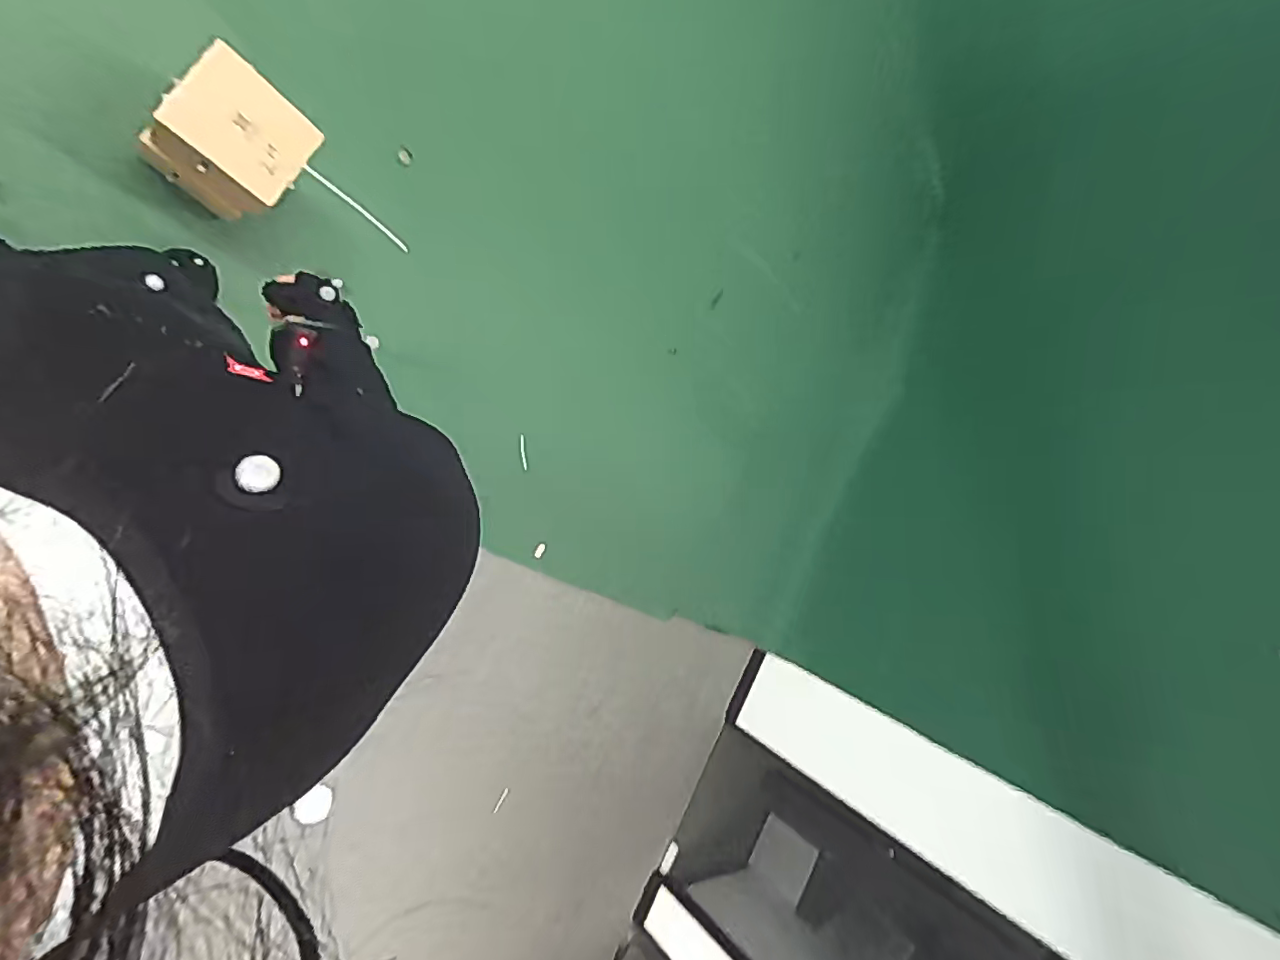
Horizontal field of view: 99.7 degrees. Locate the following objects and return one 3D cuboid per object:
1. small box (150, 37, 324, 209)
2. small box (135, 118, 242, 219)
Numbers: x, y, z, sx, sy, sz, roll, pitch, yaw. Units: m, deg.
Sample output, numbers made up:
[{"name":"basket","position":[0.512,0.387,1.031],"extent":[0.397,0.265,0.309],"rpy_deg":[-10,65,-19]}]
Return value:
[{"name":"small box","position":[-0.698,-0.597,0.934],"extent":[0.179,0.176,0.168],"rpy_deg":[40,76,-45]},{"name":"small box","position":[-0.818,-0.632,1.040],"extent":[0.168,0.176,0.179],"rpy_deg":[41,75,-44]}]
